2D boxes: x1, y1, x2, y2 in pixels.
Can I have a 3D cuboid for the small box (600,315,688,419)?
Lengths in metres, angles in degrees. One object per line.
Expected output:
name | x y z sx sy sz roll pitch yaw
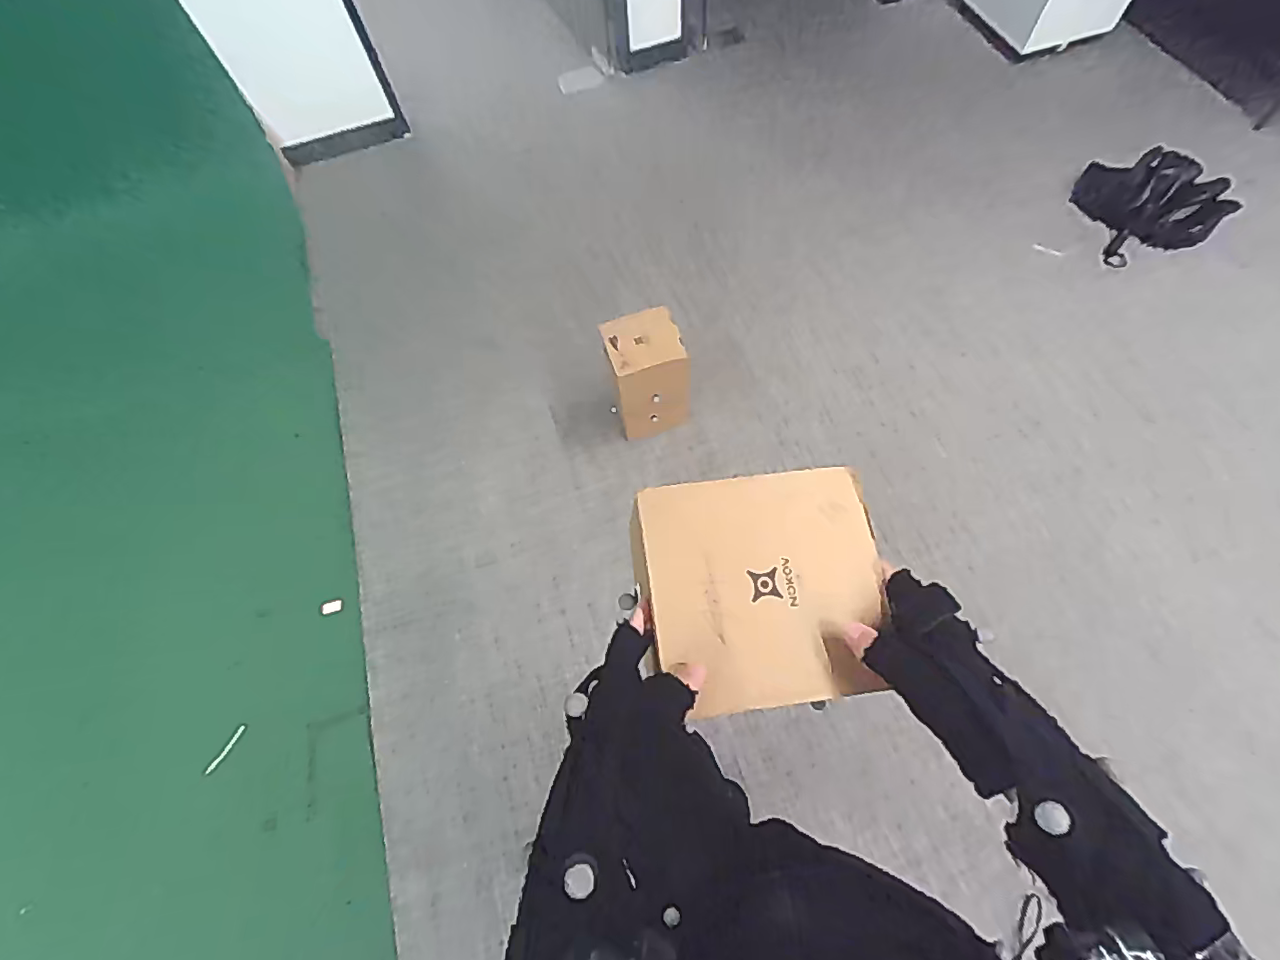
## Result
small box | 0.011 -0.281 1.369 0.179 0.176 0.168 -20 67 -4

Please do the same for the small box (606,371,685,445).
small box | 0.018 -0.225 1.519 0.179 0.176 0.168 -19 65 -3

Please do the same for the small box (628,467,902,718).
small box | 0.086 0.100 0.473 0.179 0.176 0.168 -8 71 -4
